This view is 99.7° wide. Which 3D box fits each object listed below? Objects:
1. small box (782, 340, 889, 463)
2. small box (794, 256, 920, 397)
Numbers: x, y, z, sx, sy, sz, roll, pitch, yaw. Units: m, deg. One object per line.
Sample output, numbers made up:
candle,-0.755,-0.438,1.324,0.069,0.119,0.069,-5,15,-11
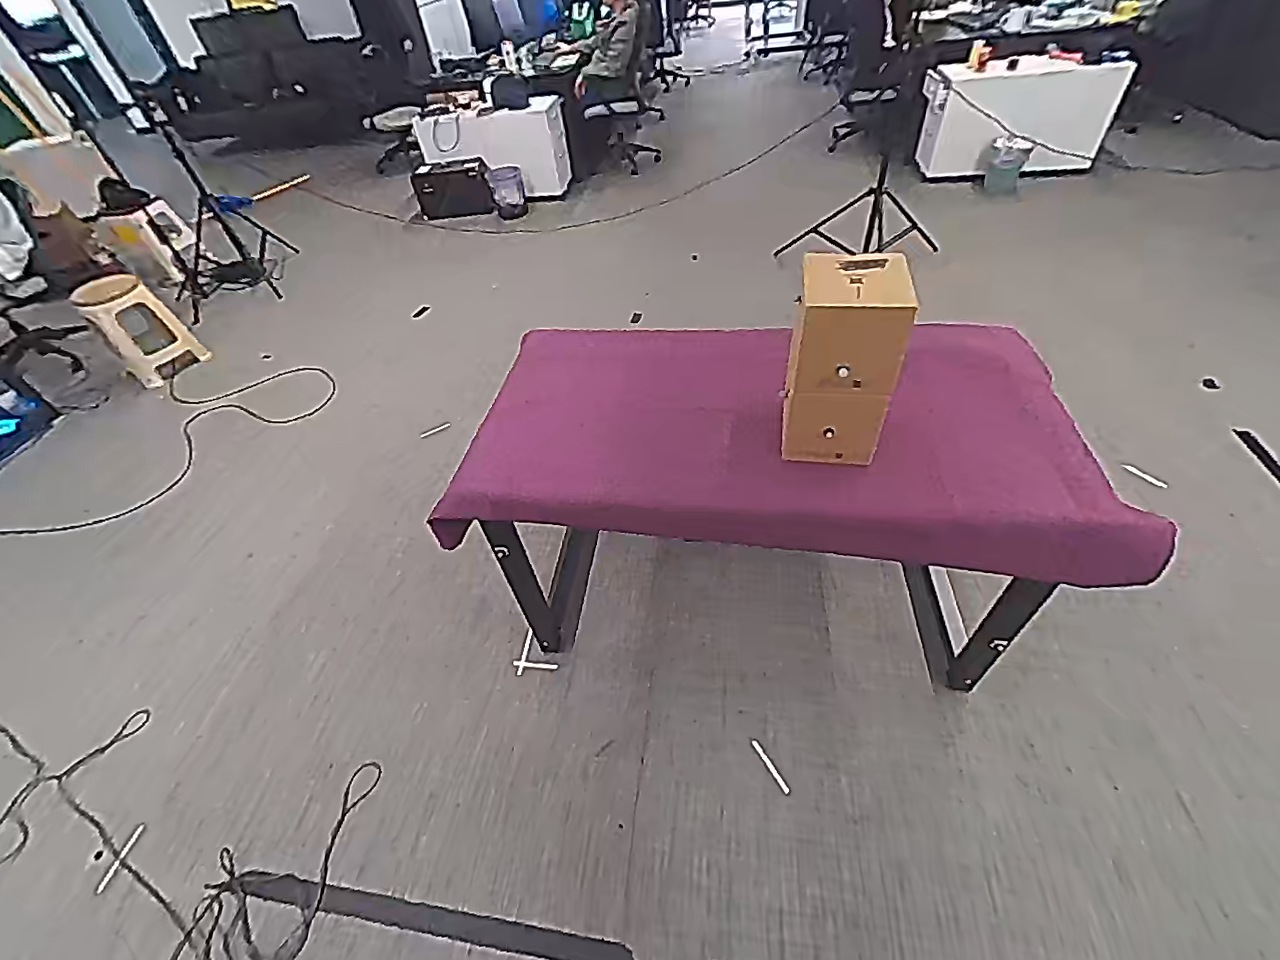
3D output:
small box,0.370,-0.150,1.046,0.168,0.176,0.179,5,47,11
small box,0.359,-0.266,0.930,0.168,0.176,0.179,4,48,11
